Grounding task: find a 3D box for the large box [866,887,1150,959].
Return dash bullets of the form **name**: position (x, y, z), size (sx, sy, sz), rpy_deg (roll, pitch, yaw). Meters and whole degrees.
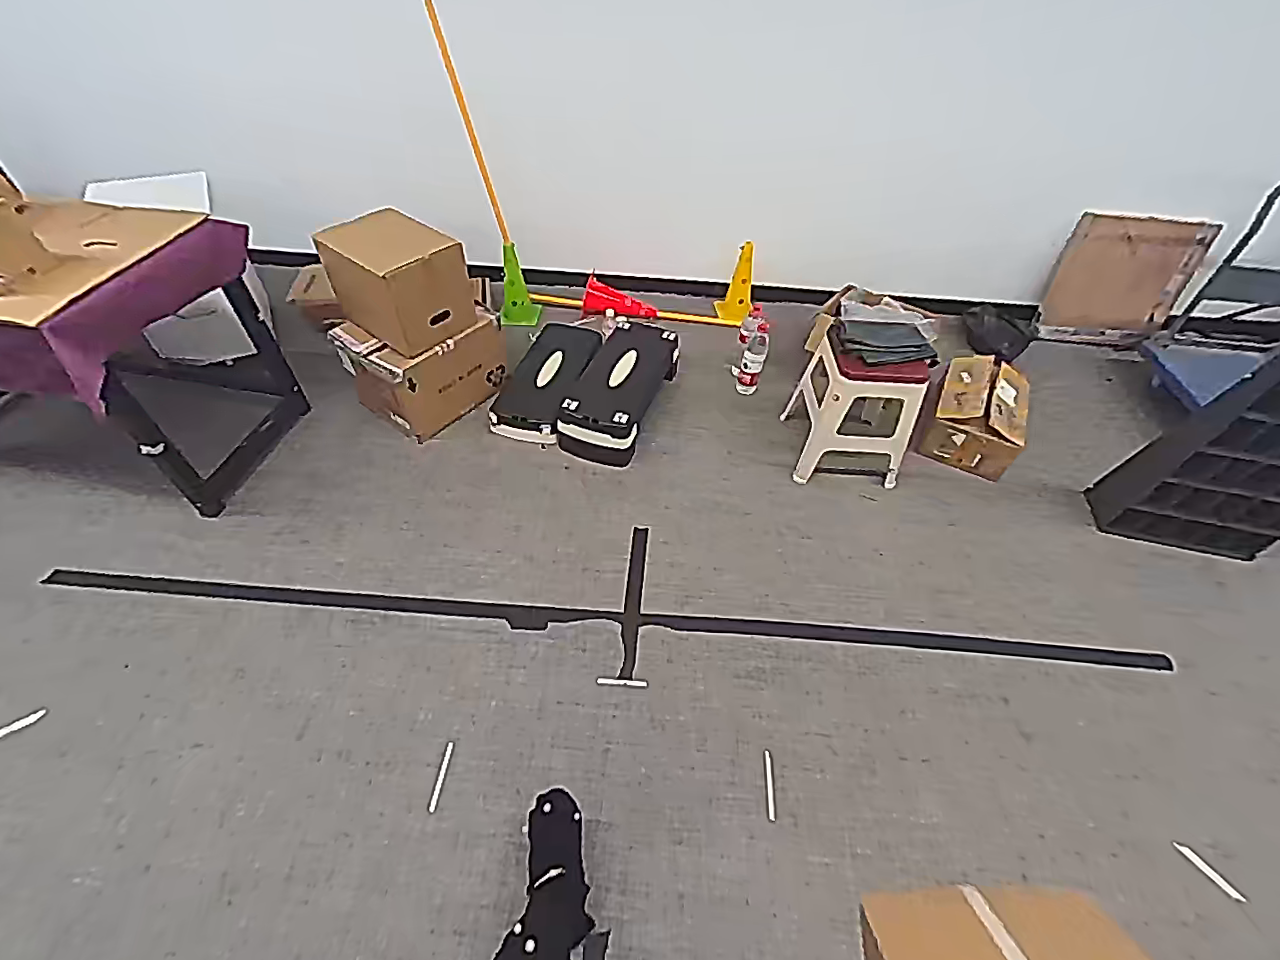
- **large box**: position (0.474, 0.746, 0.588), size (0.320, 0.408, 0.320), rpy_deg (-5, 90, 6)
